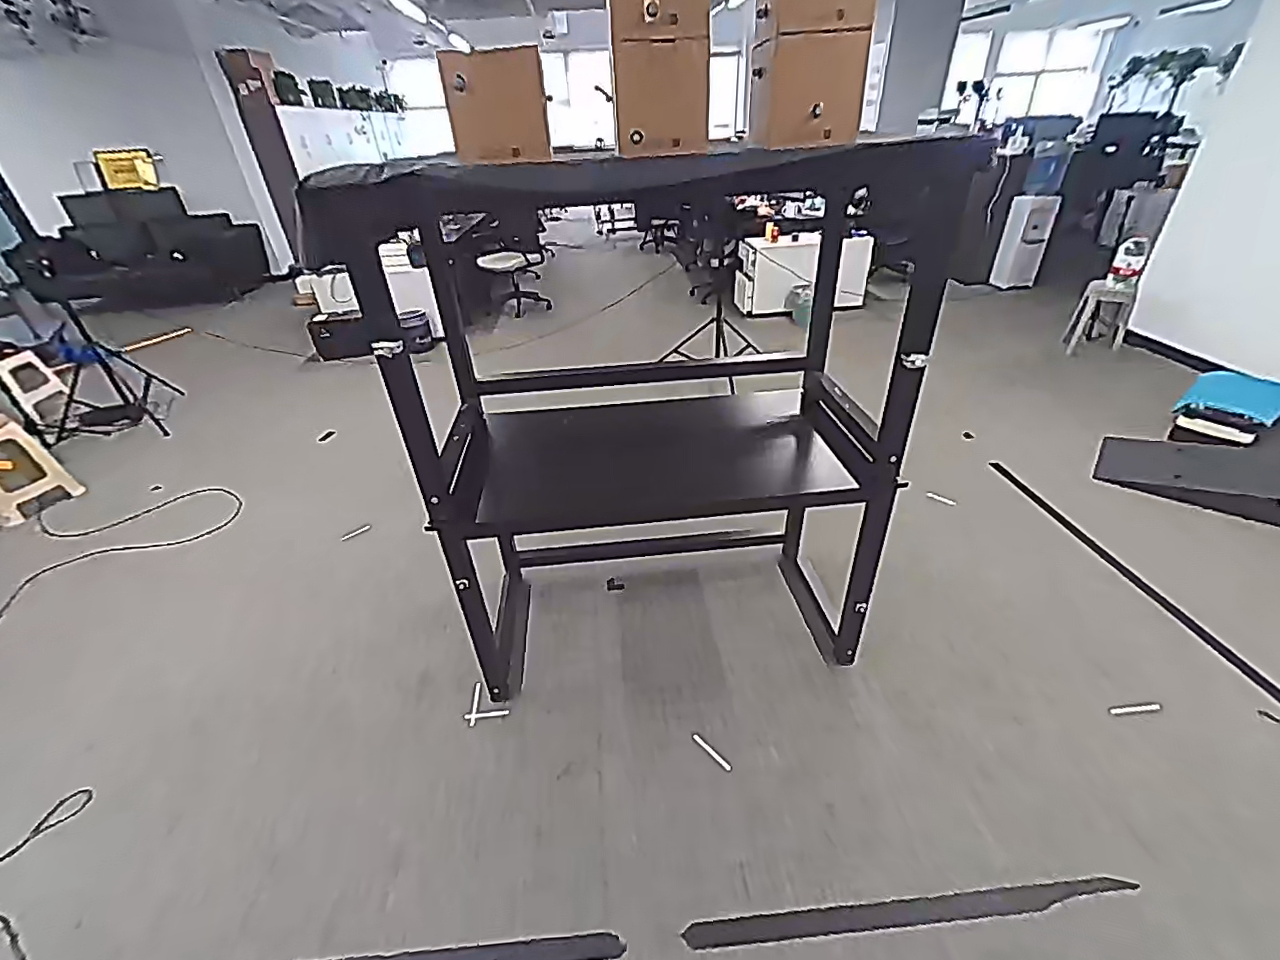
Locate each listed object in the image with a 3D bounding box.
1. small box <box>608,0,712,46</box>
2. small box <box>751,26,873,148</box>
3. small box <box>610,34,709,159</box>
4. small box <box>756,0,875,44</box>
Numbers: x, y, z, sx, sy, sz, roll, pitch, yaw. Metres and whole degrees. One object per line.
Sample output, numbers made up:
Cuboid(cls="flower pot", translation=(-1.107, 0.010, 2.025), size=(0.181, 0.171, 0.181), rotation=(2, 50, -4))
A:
Cuboid(cls="small box", translation=(0.027, -0.837, 0.915), size=(0.168, 0.176, 0.179), rotation=(-5, 33, -1))
Cuboid(cls="small box", translation=(0.308, -0.724, 1.011), size=(0.168, 0.176, 0.179), rotation=(-5, 33, -1))
Cuboid(cls="small box", translation=(0.034, -0.698, 1.000), size=(0.168, 0.176, 0.179), rotation=(-5, 31, -2))
Cuboid(cls="small box", translation=(0.300, -0.862, 0.924), size=(0.168, 0.176, 0.179), rotation=(-4, 33, -1))
